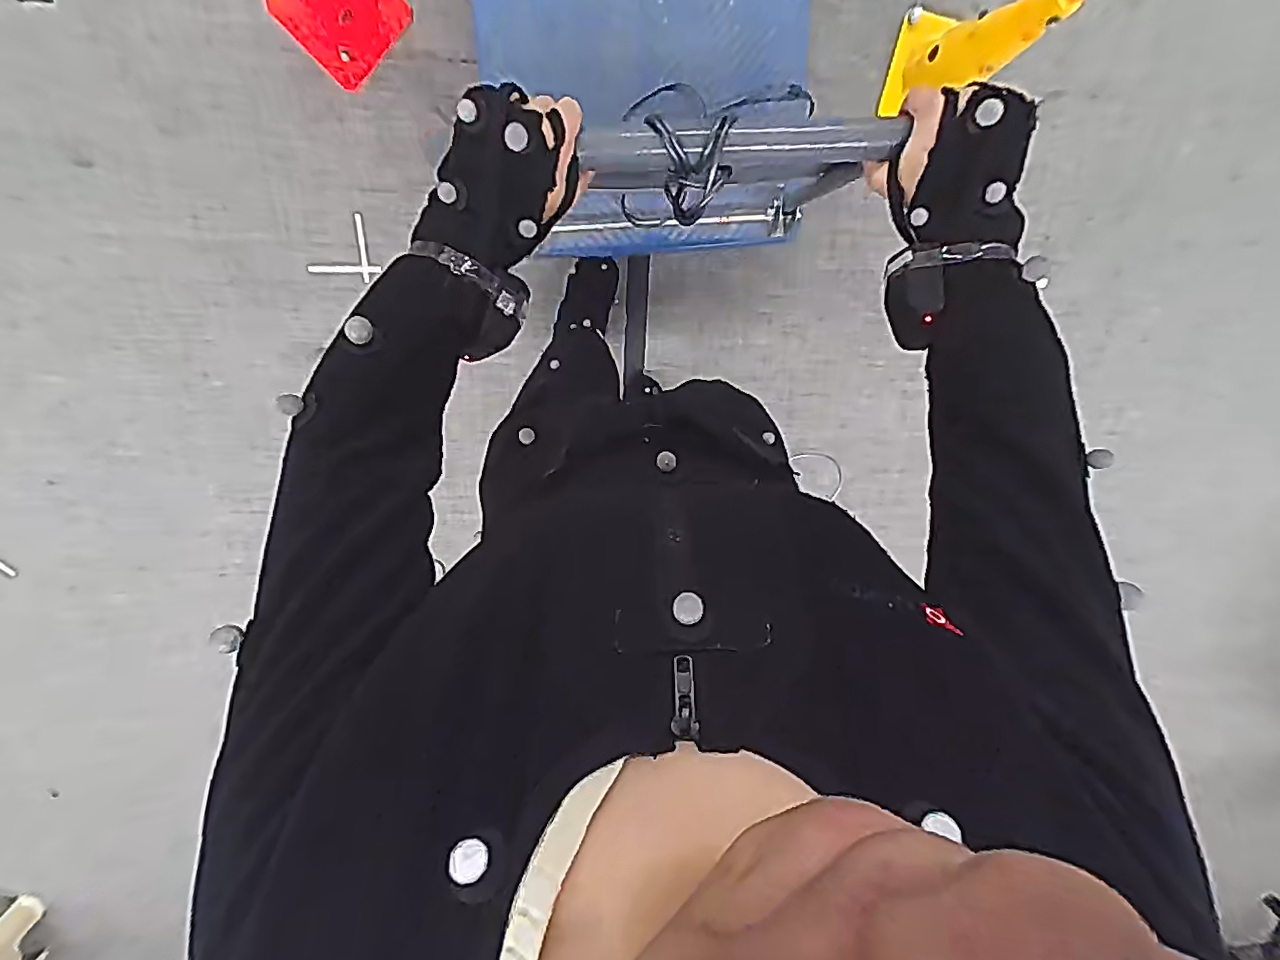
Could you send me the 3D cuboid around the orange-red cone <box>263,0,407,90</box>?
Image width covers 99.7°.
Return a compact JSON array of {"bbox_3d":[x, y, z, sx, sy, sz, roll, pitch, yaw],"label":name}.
[{"bbox_3d":[-0.547,-0.816,0.847,0.199,0.360,0.198,-42,110,10],"label":"orange-red cone"}]
